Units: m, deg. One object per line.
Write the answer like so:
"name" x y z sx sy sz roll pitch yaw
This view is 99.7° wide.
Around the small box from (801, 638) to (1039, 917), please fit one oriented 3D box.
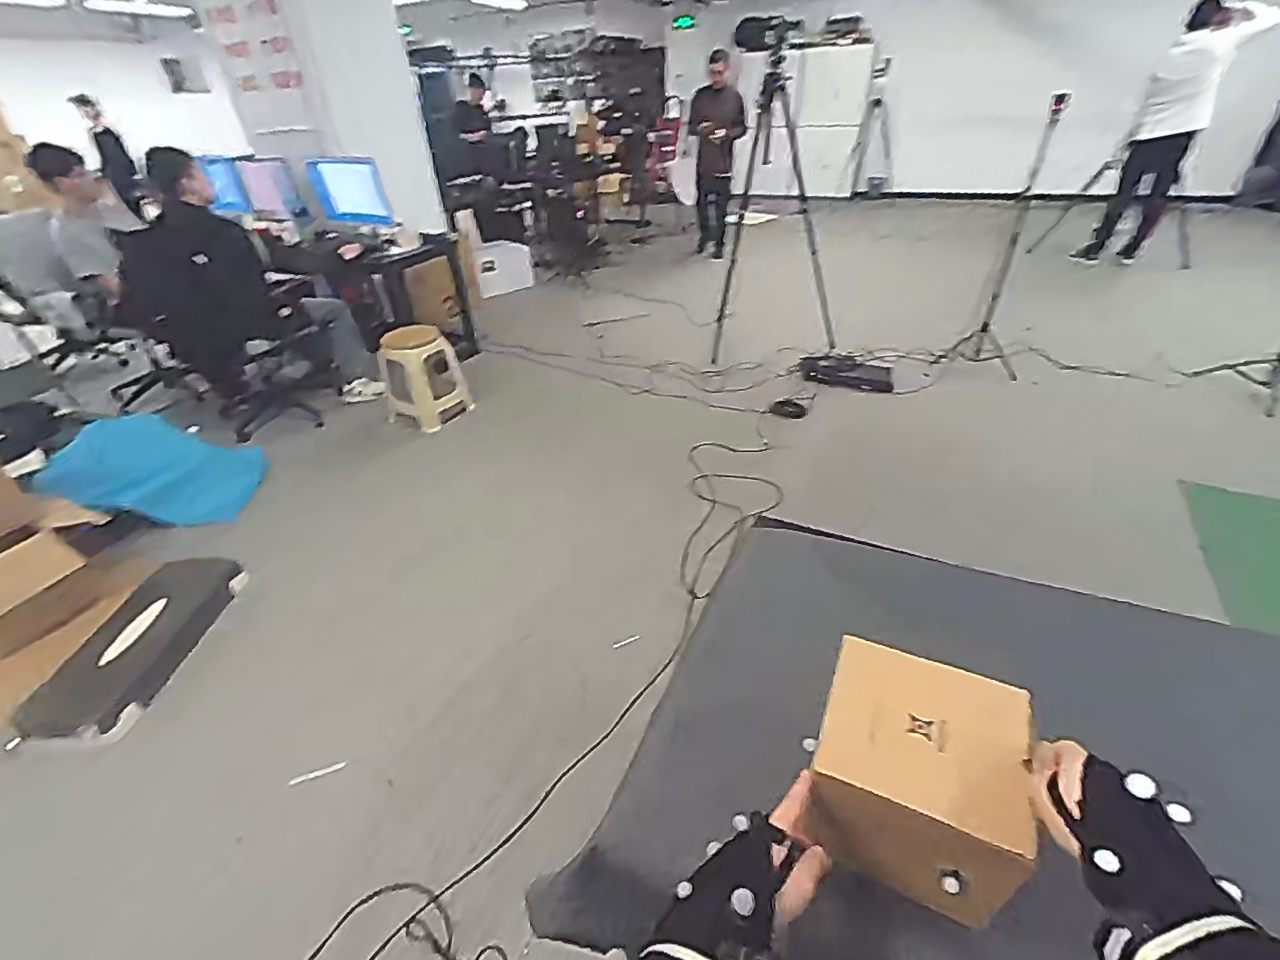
"small box" 0.275 0.300 0.554 0.179 0.176 0.168 12 38 25
